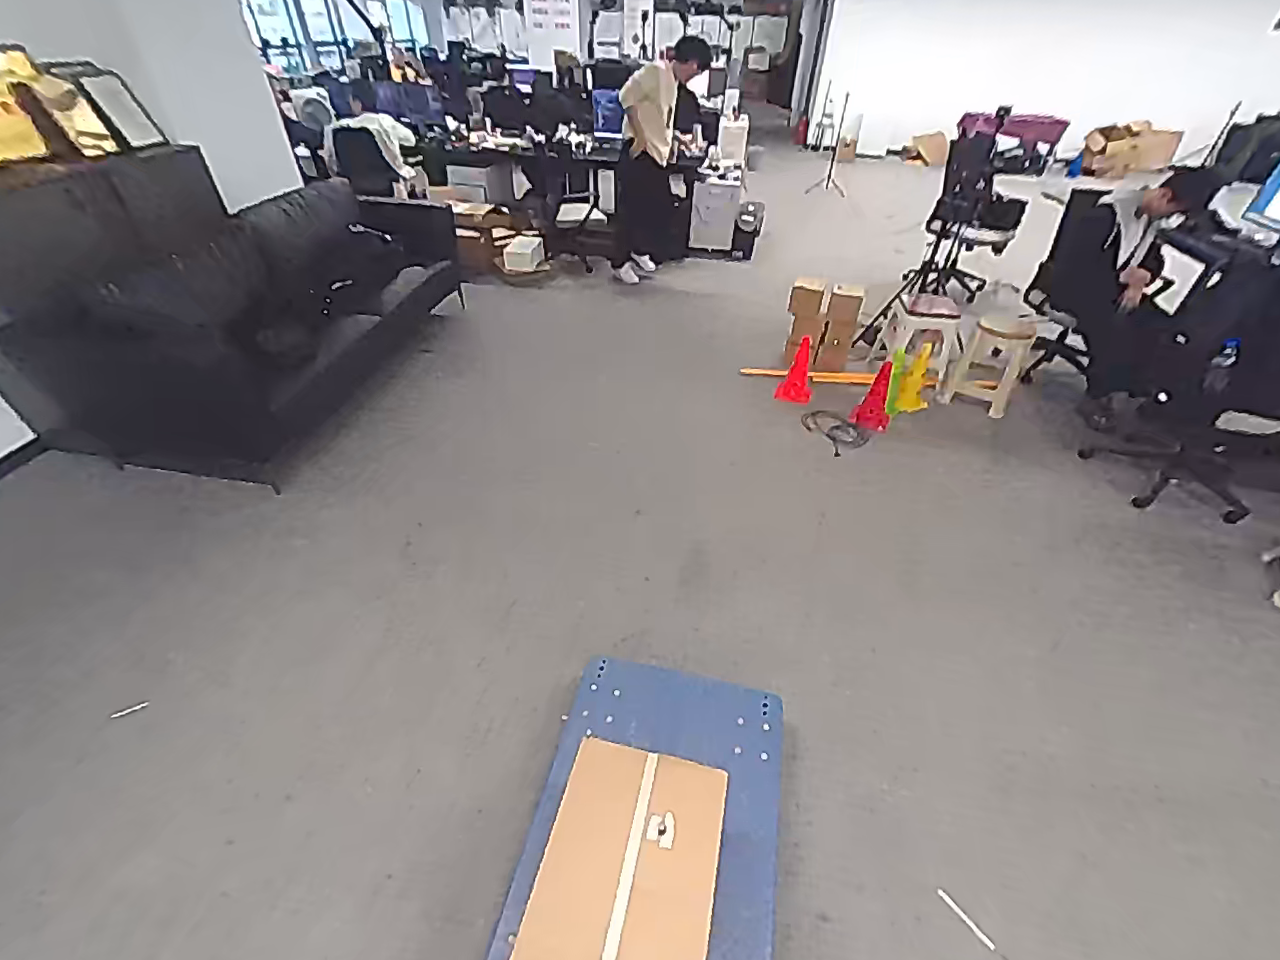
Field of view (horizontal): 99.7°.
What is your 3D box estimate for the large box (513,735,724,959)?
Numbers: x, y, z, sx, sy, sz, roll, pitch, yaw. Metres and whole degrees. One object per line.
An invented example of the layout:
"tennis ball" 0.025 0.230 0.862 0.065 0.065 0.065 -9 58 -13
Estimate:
"large box" -0.020 0.806 1.079 0.320 0.320 0.408 10 40 9
